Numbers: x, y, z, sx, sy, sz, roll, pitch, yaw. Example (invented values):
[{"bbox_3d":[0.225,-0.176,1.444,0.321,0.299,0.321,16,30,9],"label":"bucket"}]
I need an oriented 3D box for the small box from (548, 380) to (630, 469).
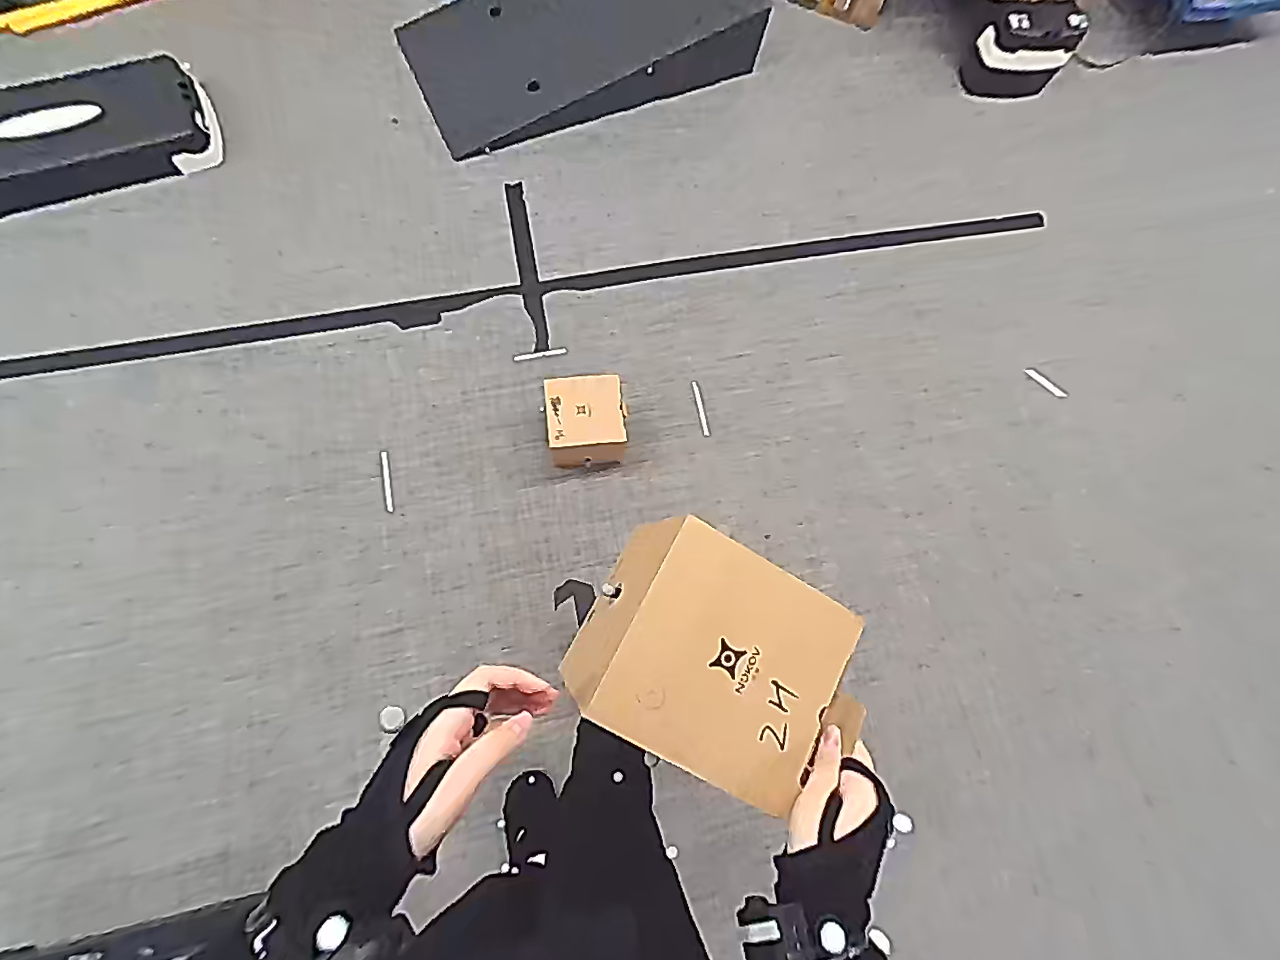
[{"bbox_3d":[-0.126,-0.129,1.290,0.179,0.176,0.168,-4,77,-8],"label":"small box"}]

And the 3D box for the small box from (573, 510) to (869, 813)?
[{"bbox_3d":[0.055,0.145,0.481,0.179,0.176,0.168,31,77,-7],"label":"small box"}]
